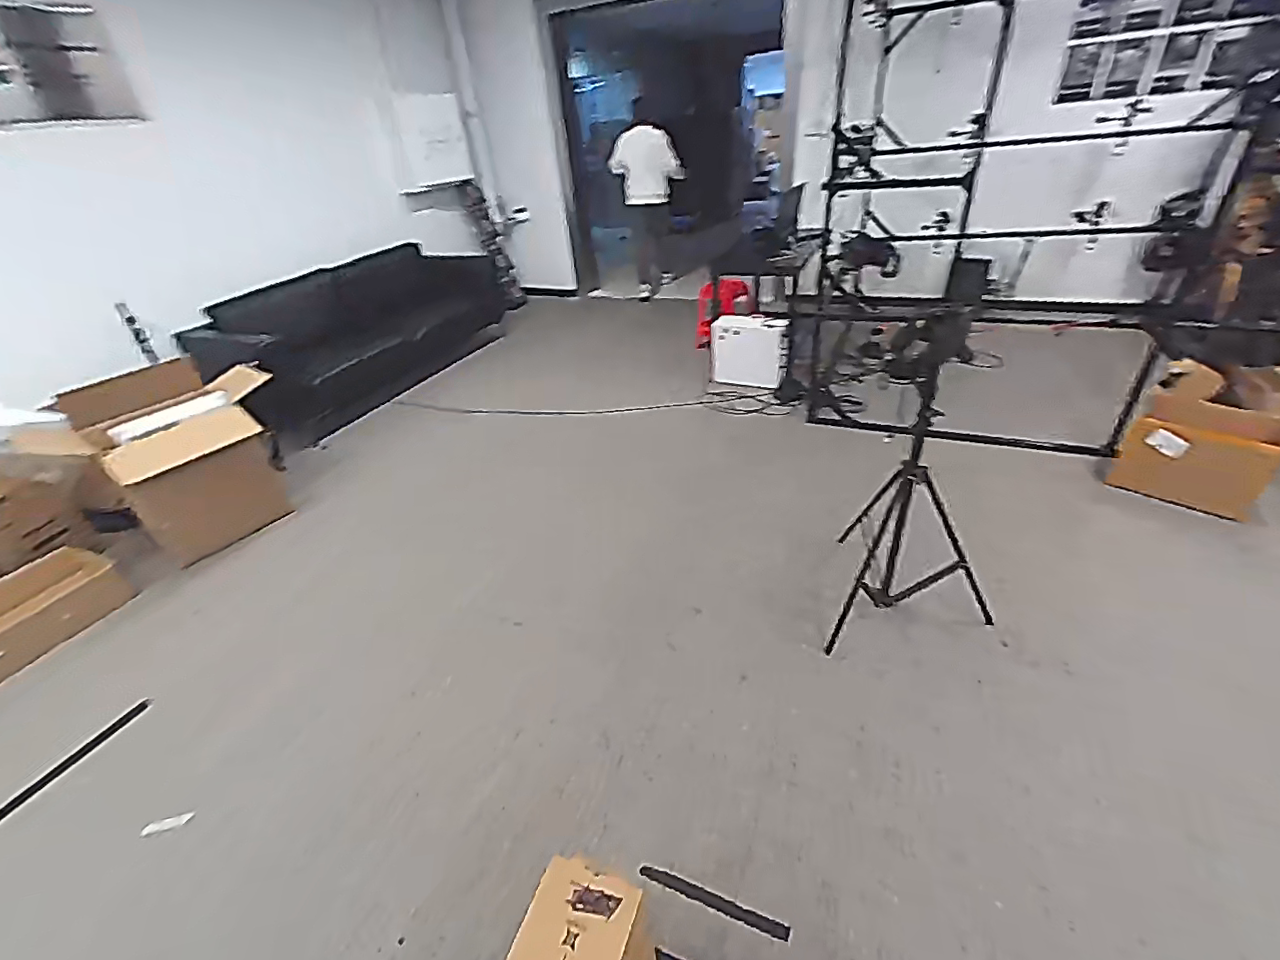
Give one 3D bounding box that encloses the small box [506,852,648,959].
[{"bbox_3d":[-0.091,0.752,0.864,0.168,0.176,0.179,8,36,20],"label":"small box"}]
